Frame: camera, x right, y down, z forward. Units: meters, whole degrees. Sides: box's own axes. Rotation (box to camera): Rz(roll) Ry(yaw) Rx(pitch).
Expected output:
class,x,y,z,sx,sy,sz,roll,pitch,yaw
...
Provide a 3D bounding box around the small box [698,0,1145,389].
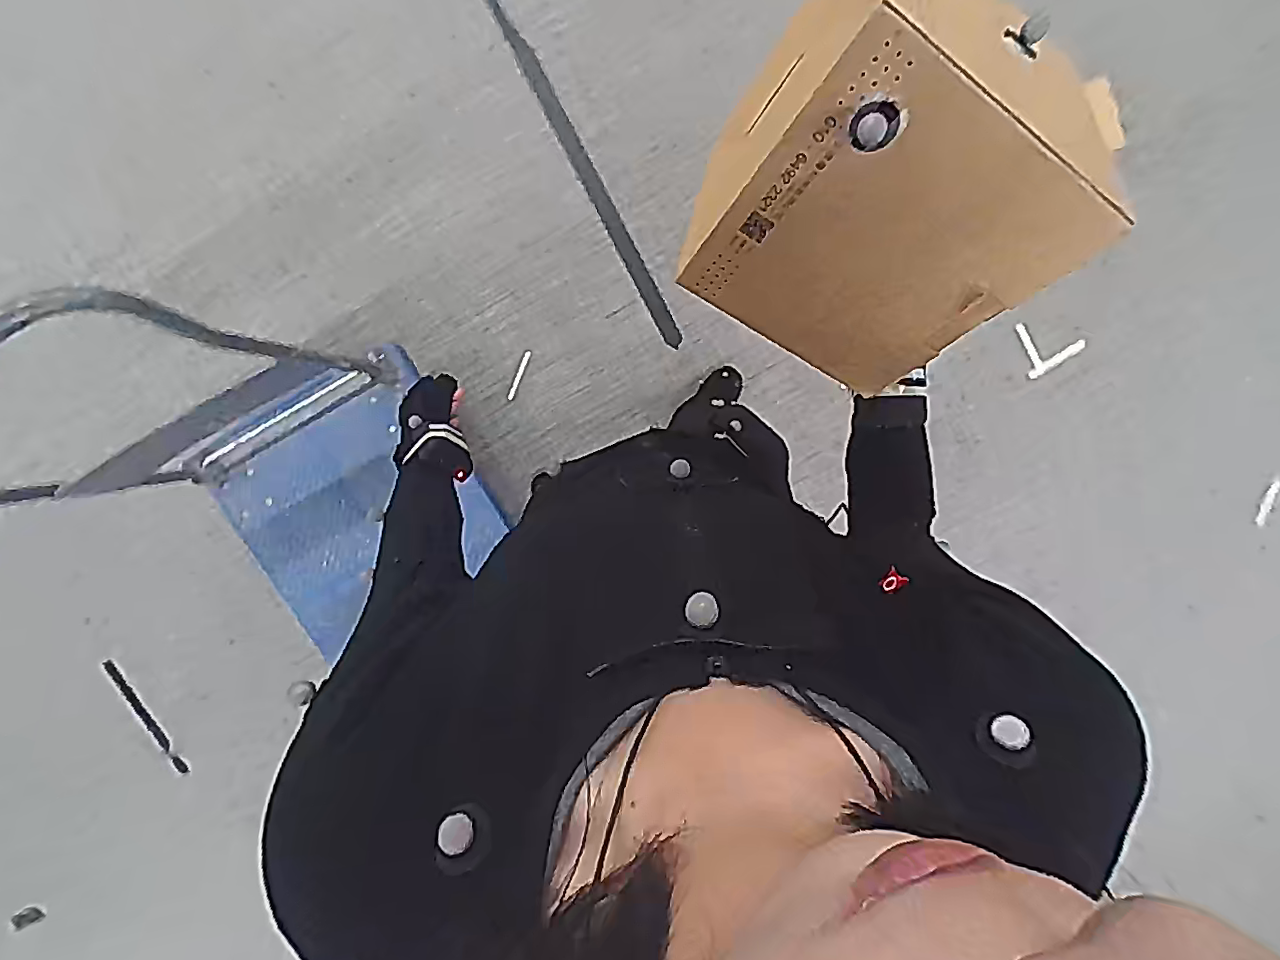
class,x,y,z,sx,sy,sz,roll,pitch,yaw
small box,0.153,-0.197,0.340,0.176,0.168,0.179,26,58,-17
